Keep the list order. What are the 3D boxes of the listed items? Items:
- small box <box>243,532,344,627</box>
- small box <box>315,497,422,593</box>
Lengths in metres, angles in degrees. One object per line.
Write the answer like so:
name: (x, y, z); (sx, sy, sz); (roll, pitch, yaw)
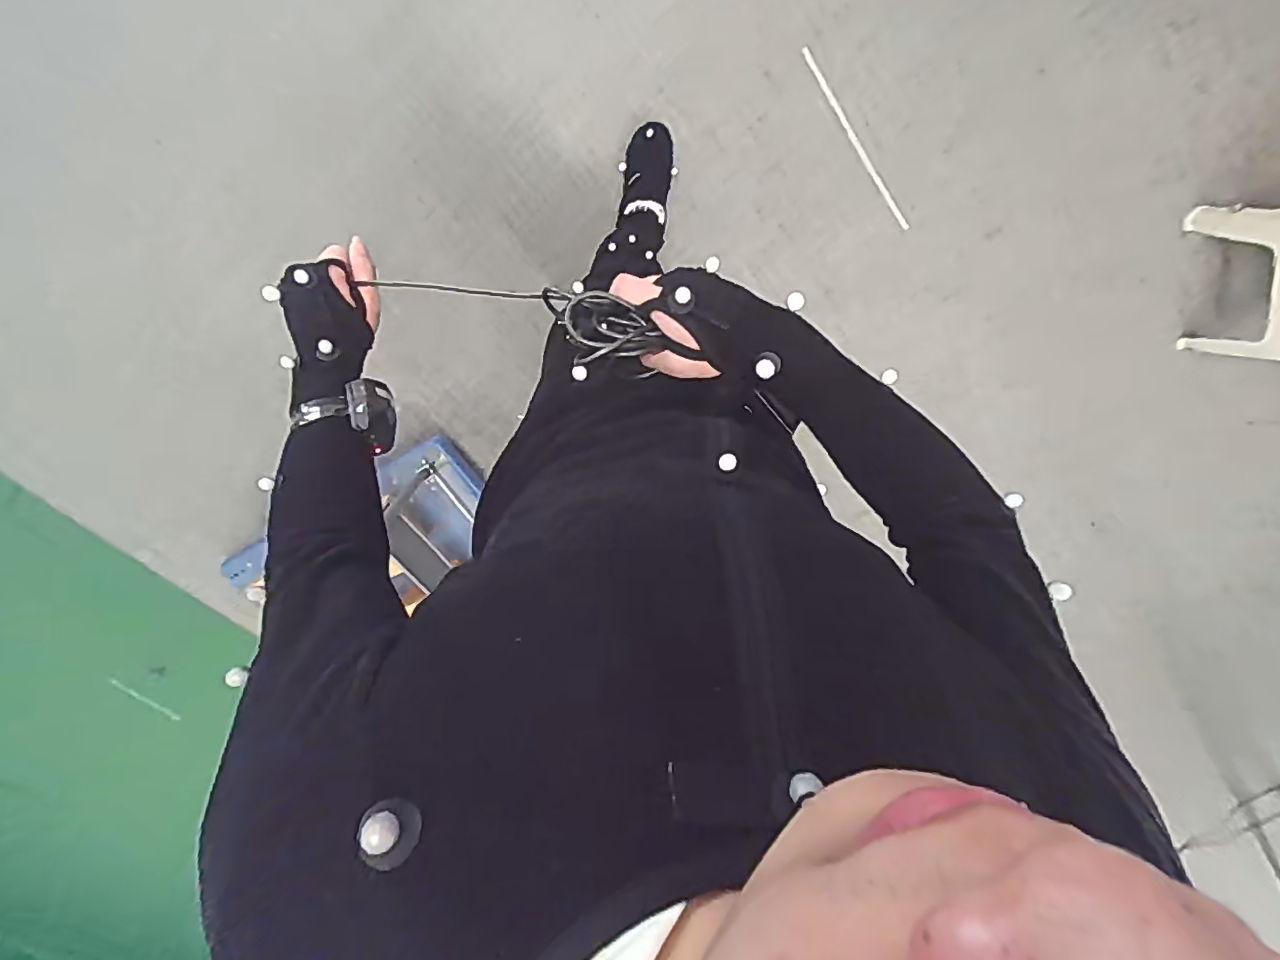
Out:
small box: (-0.972, 0.283, 1.556); (0.179, 0.176, 0.168); (-28, 115, 12)
small box: (-0.745, 0.176, 1.506); (0.179, 0.176, 0.168); (-26, 115, 11)
